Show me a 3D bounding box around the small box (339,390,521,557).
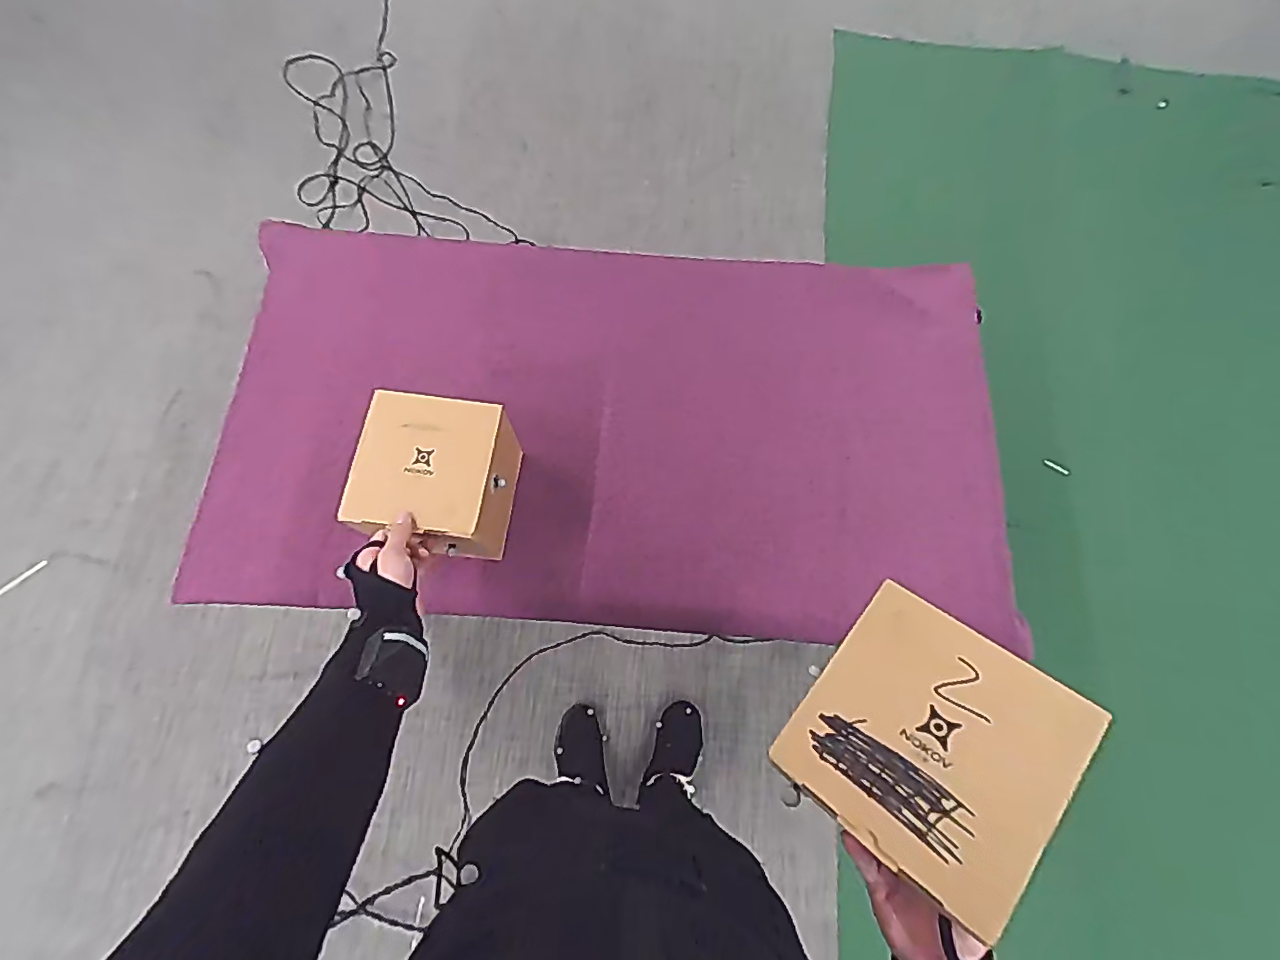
[{"bbox_3d":[-0.270,0.001,0.743,0.168,0.176,0.179,8,71,0],"label":"small box"}]
